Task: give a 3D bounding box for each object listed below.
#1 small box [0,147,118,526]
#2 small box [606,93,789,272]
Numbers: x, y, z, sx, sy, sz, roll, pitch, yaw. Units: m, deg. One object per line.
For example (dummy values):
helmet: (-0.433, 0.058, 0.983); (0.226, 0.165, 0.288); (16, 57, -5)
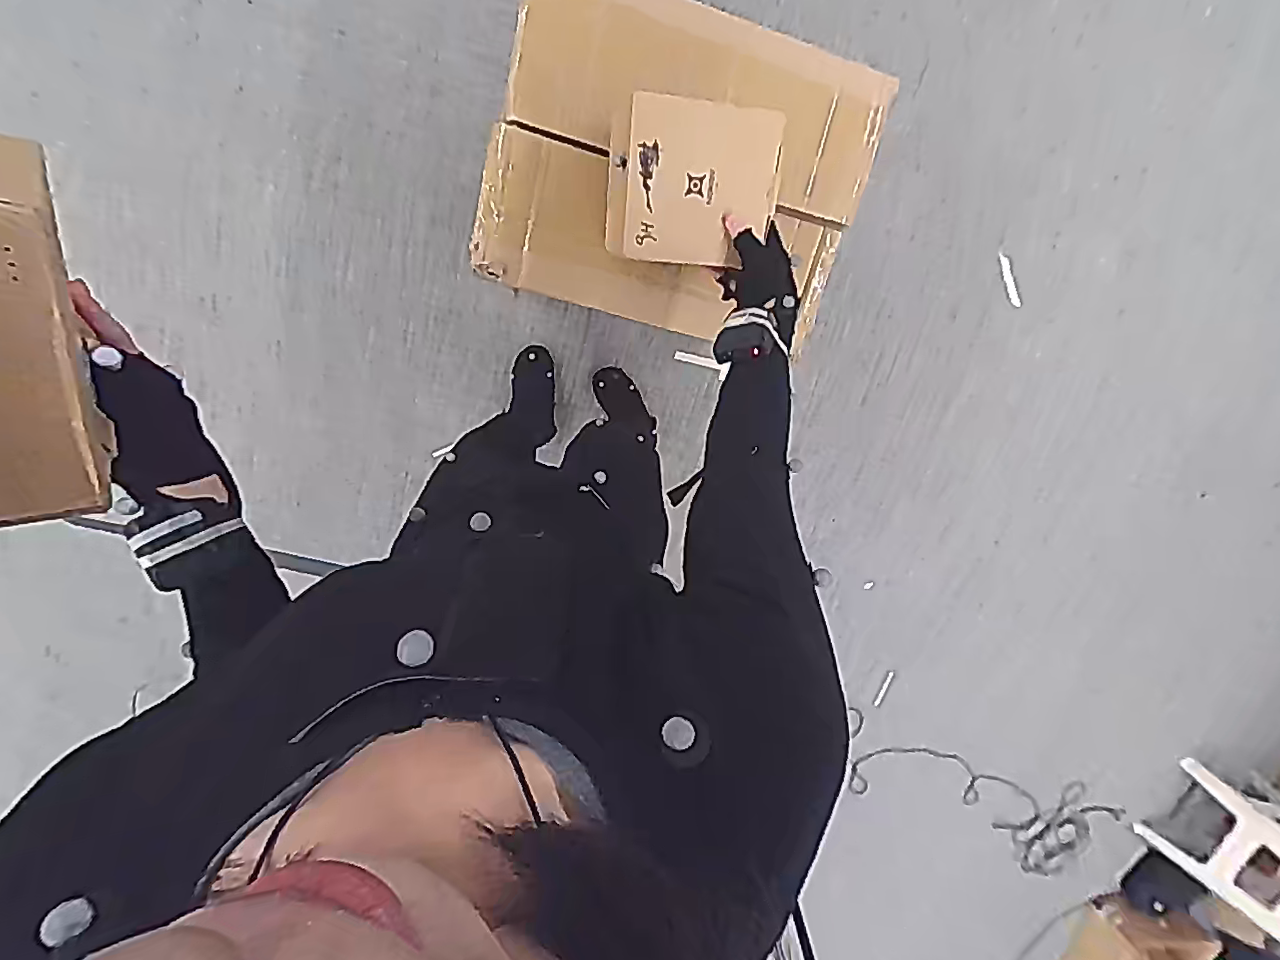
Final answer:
small box: (-0.393, -0.082, 0.260); (0.179, 0.168, 0.176); (-11, 129, -42)
small box: (0.058, -0.364, 0.680); (0.179, 0.176, 0.168); (0, 117, -11)
